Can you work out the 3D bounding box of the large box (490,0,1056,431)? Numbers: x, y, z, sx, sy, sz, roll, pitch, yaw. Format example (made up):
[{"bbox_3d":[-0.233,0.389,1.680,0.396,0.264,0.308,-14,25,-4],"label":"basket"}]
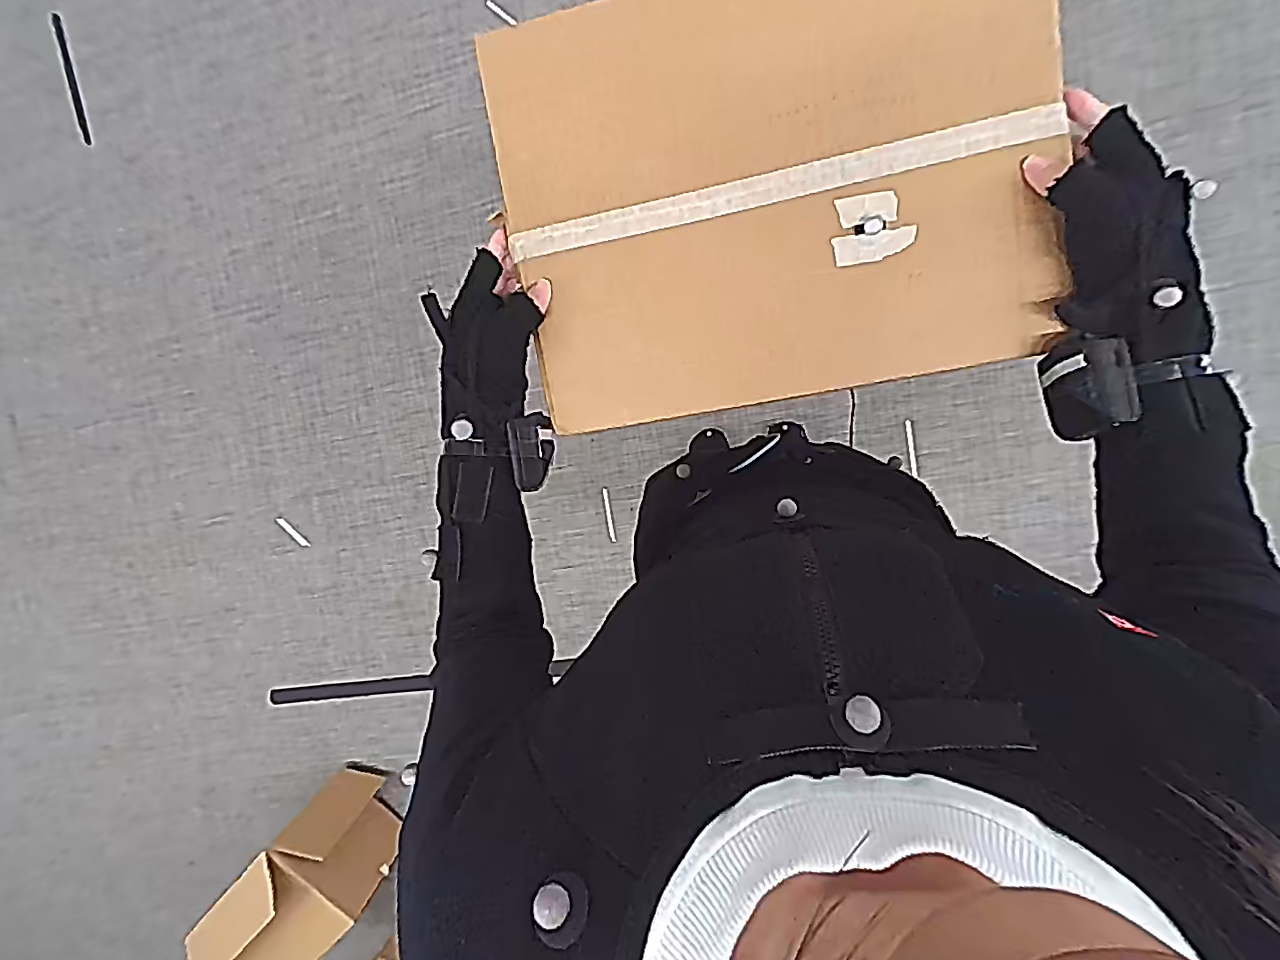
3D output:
[{"bbox_3d":[0.115,-0.245,0.568,0.408,0.320,0.320,-9,98,8],"label":"large box"}]
